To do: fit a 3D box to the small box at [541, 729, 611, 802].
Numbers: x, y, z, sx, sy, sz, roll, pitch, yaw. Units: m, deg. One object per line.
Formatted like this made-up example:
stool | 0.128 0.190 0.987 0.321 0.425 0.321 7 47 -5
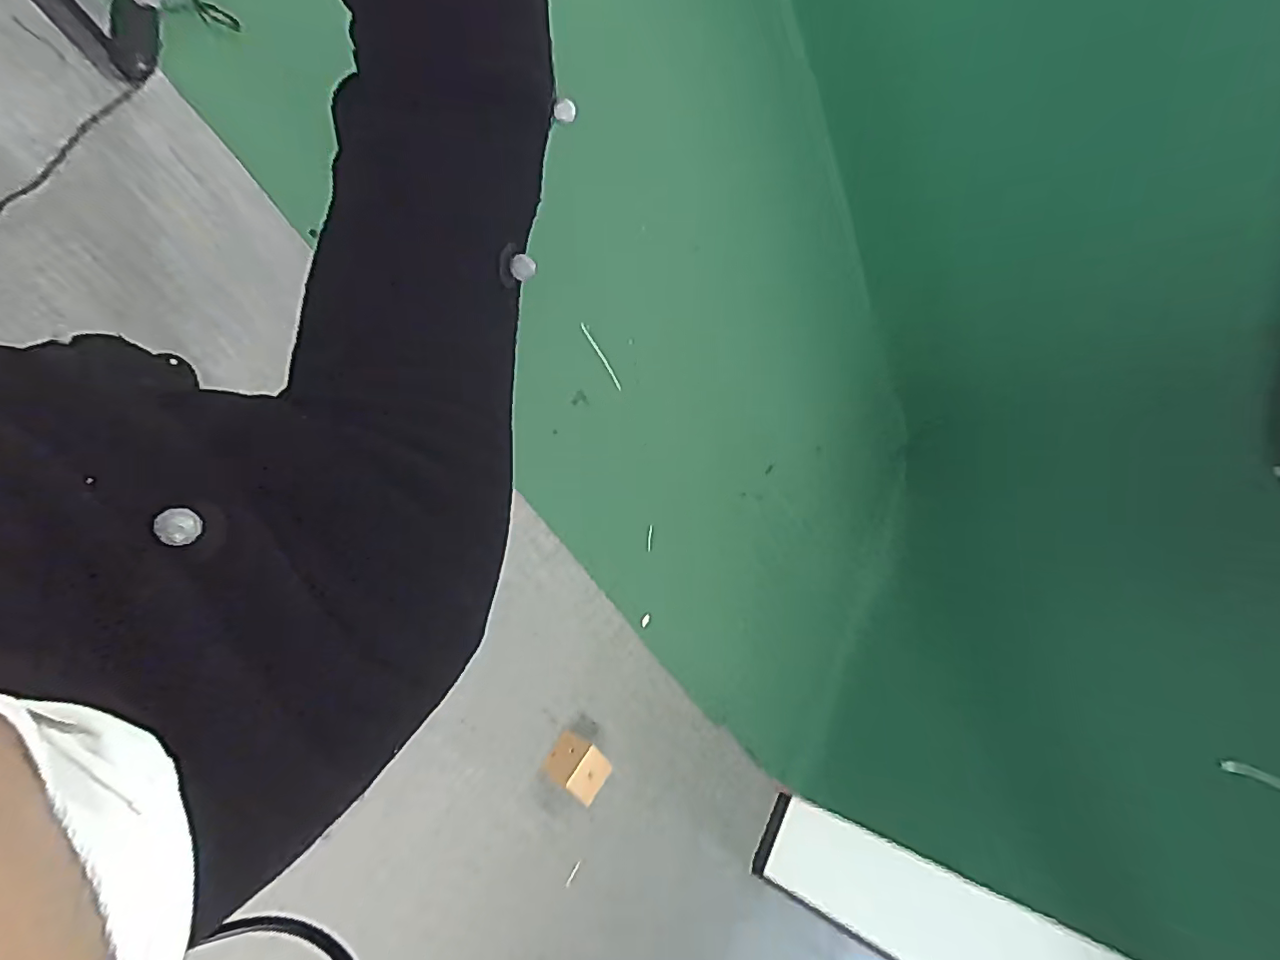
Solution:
small box | -0.250 1.091 2.087 0.168 0.176 0.179 -49 126 -31
